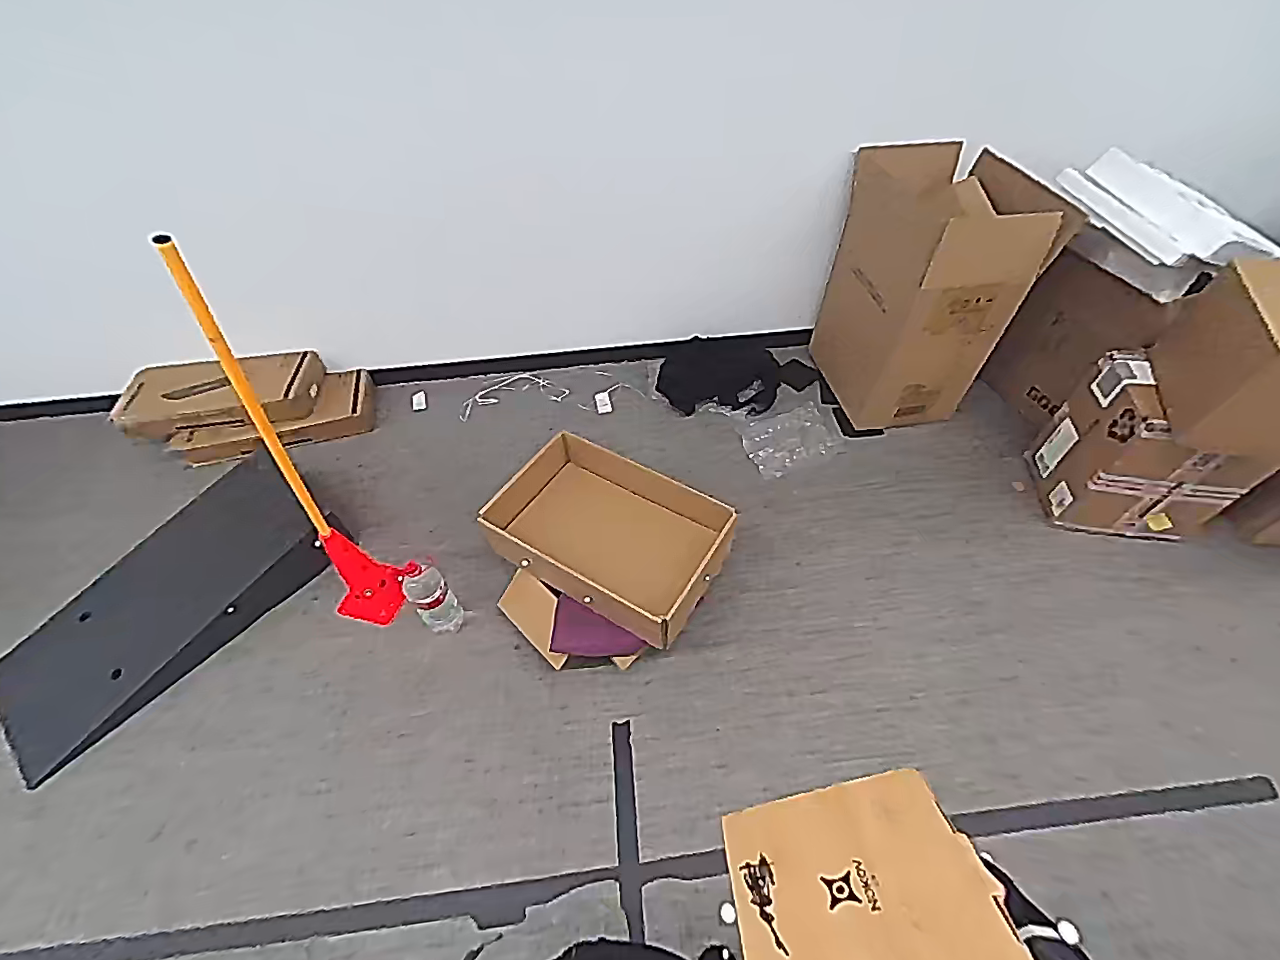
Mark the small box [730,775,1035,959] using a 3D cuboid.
[{"bbox_3d":[0.185,0.376,0.422,0.179,0.176,0.168,-17,16,5],"label":"small box"}]
